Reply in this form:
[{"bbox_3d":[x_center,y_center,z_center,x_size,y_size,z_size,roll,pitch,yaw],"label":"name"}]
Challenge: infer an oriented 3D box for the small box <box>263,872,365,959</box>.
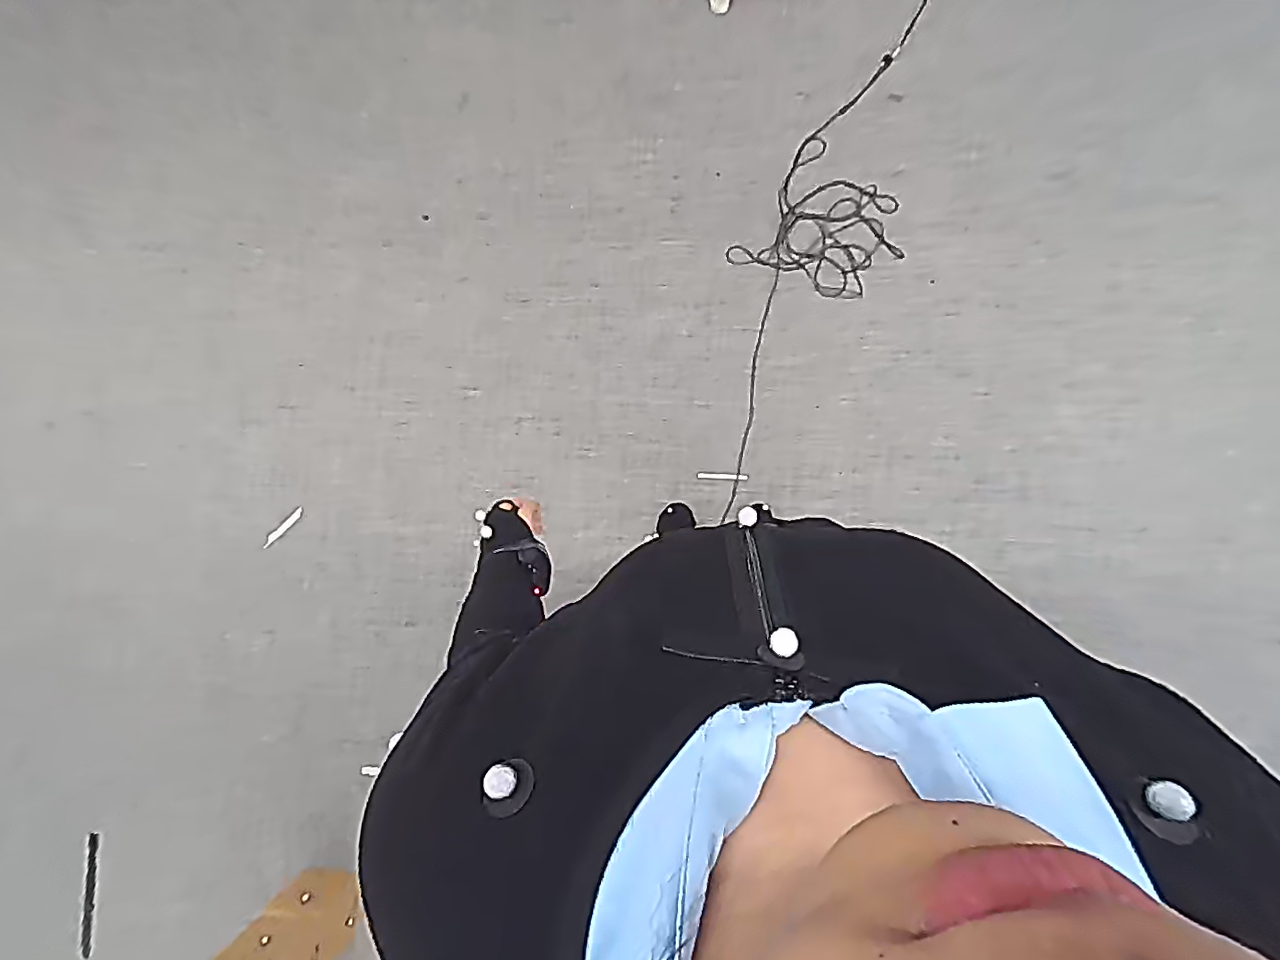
[{"bbox_3d":[-0.882,1.207,1.471,0.179,0.176,0.168,0,87,5],"label":"small box"}]
